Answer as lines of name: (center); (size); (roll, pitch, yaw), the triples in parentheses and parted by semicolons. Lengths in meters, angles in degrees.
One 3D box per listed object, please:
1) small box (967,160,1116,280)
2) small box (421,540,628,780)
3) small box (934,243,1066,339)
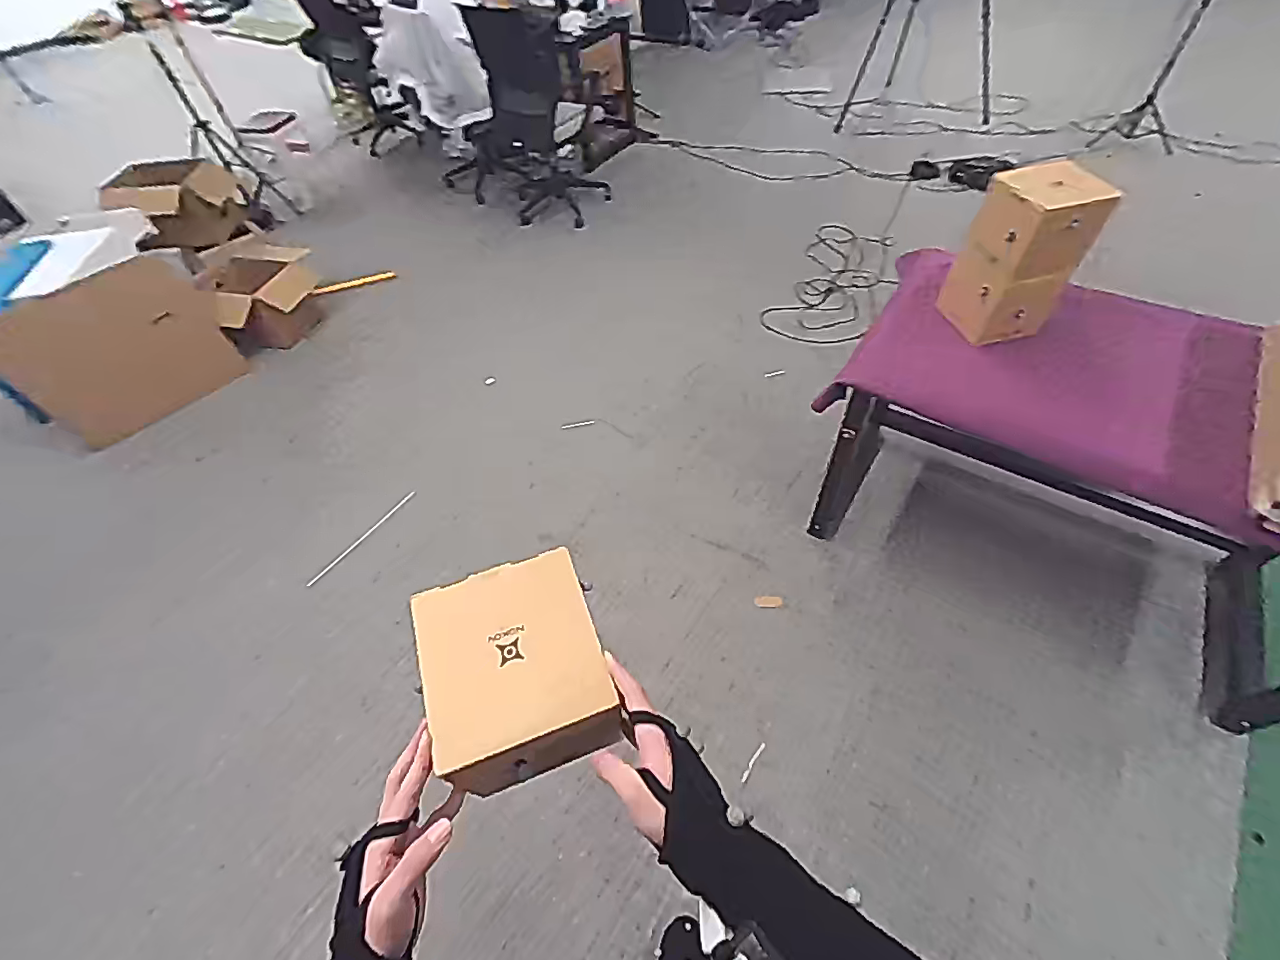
small box: (0.846, -0.557, 1.169); (0.179, 0.176, 0.168); (-13, 54, -5)
small box: (-0.115, 0.198, 0.577); (0.168, 0.176, 0.179); (-17, 54, -12)
small box: (0.850, -0.458, 1.299); (0.168, 0.176, 0.179); (-12, 53, -5)
